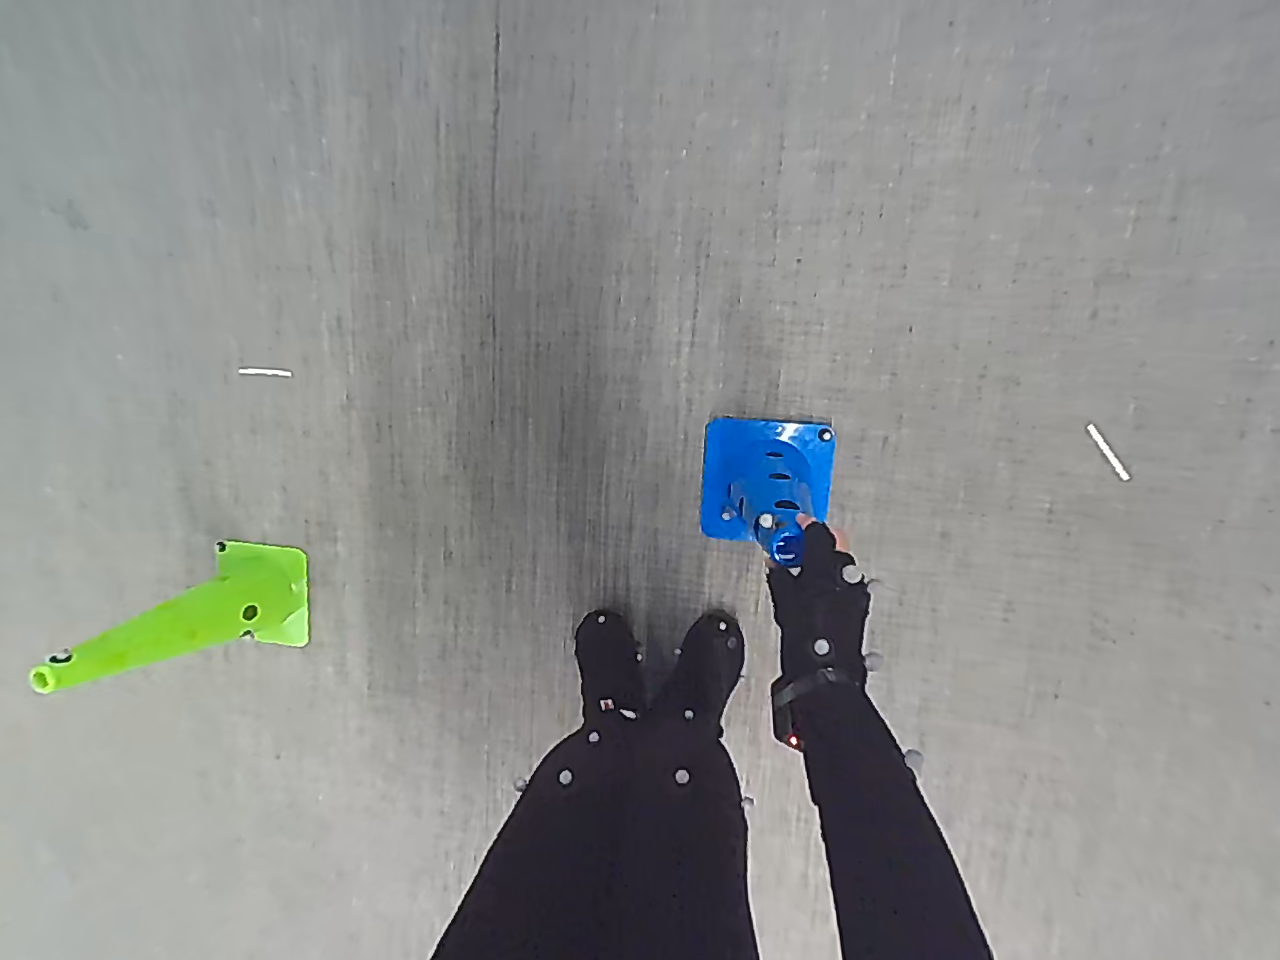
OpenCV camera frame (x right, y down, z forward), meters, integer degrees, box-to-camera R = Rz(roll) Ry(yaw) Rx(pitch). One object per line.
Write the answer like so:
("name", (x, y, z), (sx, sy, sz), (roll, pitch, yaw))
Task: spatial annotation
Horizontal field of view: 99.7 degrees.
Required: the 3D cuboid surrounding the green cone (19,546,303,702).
("green cone", (-0.775, 0.253, 0.883), (0.202, 0.368, 0.200), (4, 98, 8))
